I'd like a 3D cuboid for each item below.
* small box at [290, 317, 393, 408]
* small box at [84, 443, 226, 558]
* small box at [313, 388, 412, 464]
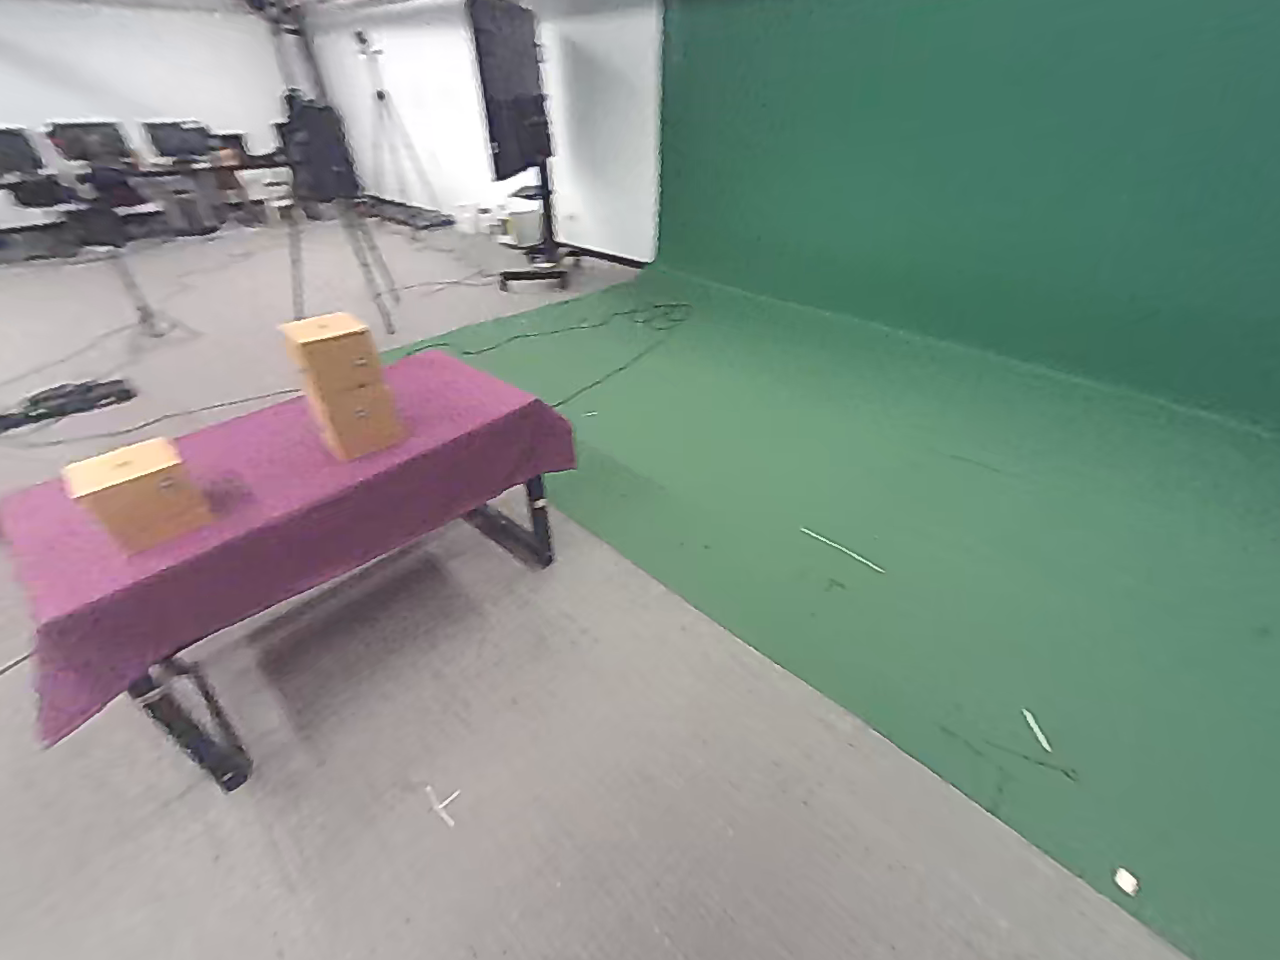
[{"bbox_3d":[-0.773,-0.304,1.412,0.168,0.176,0.179,-28,43,-32],"label":"small box"},{"bbox_3d":[-1.085,0.045,1.218,0.168,0.176,0.179,28,44,35],"label":"small box"},{"bbox_3d":[-0.764,-0.168,1.501,0.179,0.176,0.168,-29,44,-33],"label":"small box"}]
